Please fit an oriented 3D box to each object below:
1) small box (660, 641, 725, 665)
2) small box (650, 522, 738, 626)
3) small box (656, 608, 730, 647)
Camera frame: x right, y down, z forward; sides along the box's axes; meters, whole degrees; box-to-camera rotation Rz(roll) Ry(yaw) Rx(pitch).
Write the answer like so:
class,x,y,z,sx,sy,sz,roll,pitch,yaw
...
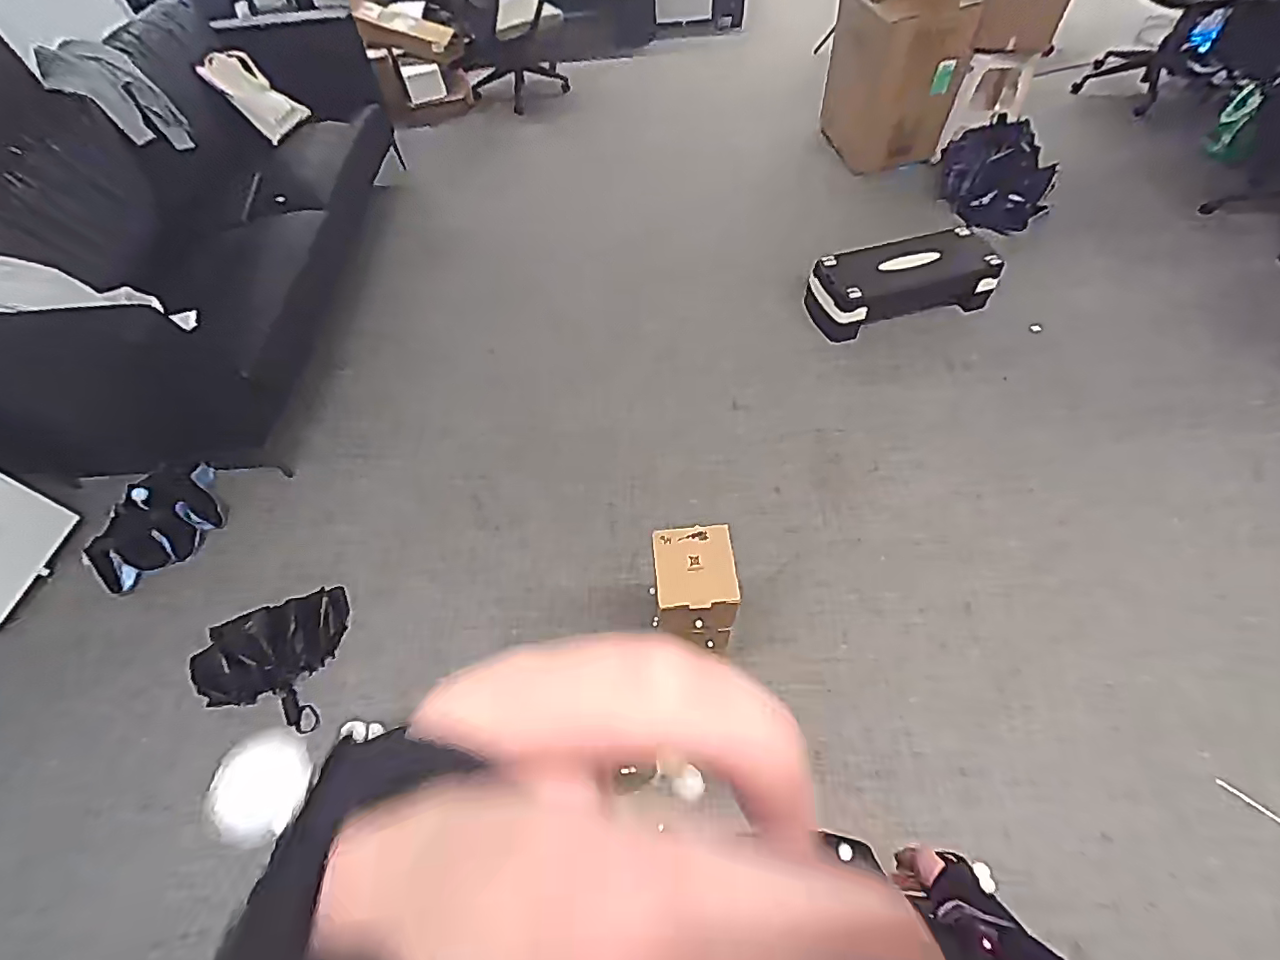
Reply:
class,x,y,z,sx,sy,sz,roll,pitch,yaw
small box,0.134,0.385,1.449,0.168,0.176,0.179,-3,57,3
small box,0.114,0.211,1.176,0.168,0.176,0.179,-5,58,1
small box,0.123,0.299,1.313,0.168,0.176,0.179,-4,56,1
